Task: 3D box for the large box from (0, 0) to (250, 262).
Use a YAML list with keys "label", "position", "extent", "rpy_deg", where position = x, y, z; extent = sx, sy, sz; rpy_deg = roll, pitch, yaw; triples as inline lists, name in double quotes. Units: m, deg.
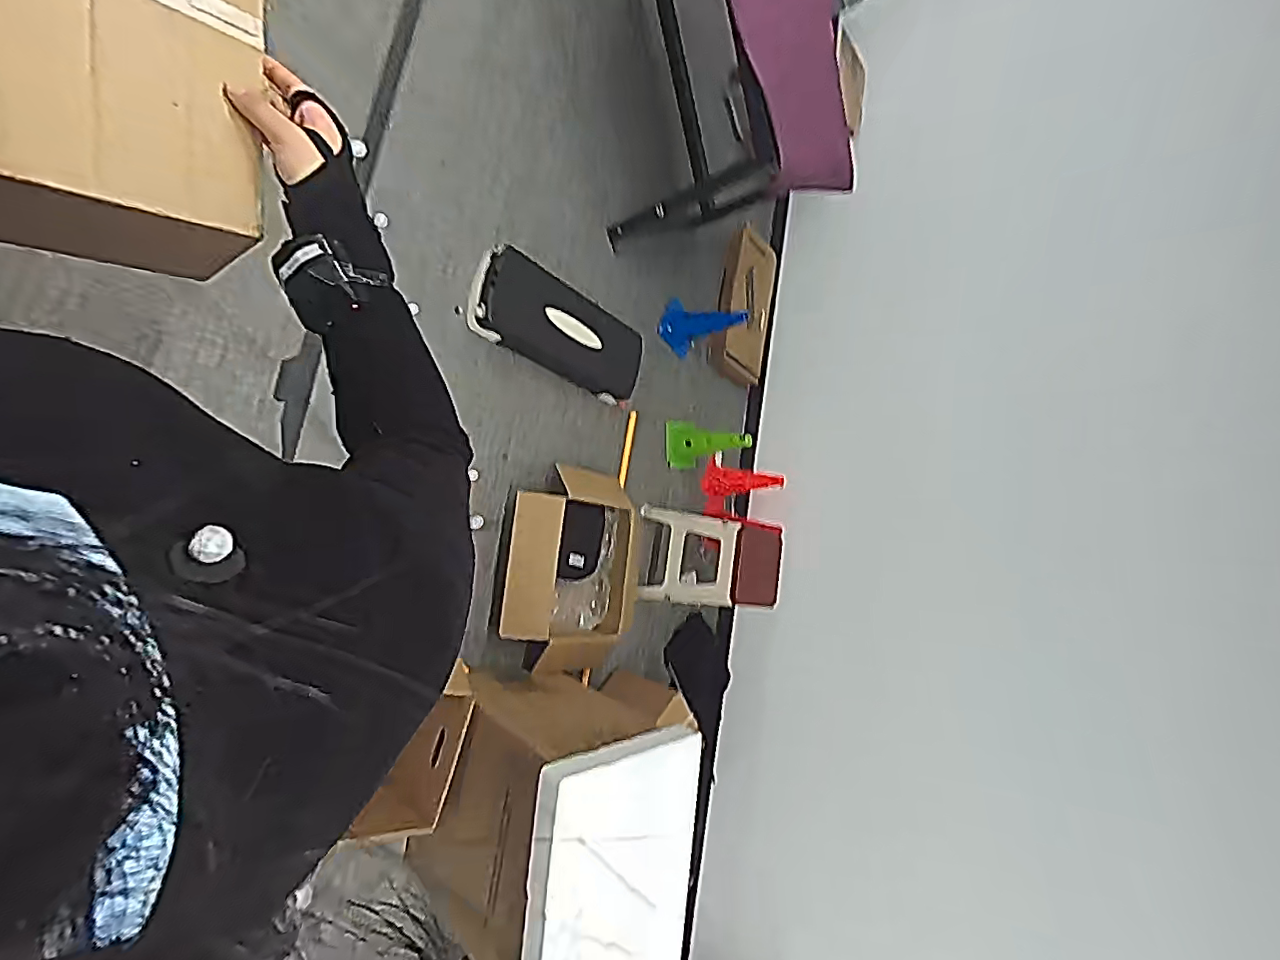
- label: "large box"
  position: [-0.571, -0.381, 0.406]
  extent: [0.408, 0.320, 0.320]
  rpy_deg: [-4, 100, -46]
